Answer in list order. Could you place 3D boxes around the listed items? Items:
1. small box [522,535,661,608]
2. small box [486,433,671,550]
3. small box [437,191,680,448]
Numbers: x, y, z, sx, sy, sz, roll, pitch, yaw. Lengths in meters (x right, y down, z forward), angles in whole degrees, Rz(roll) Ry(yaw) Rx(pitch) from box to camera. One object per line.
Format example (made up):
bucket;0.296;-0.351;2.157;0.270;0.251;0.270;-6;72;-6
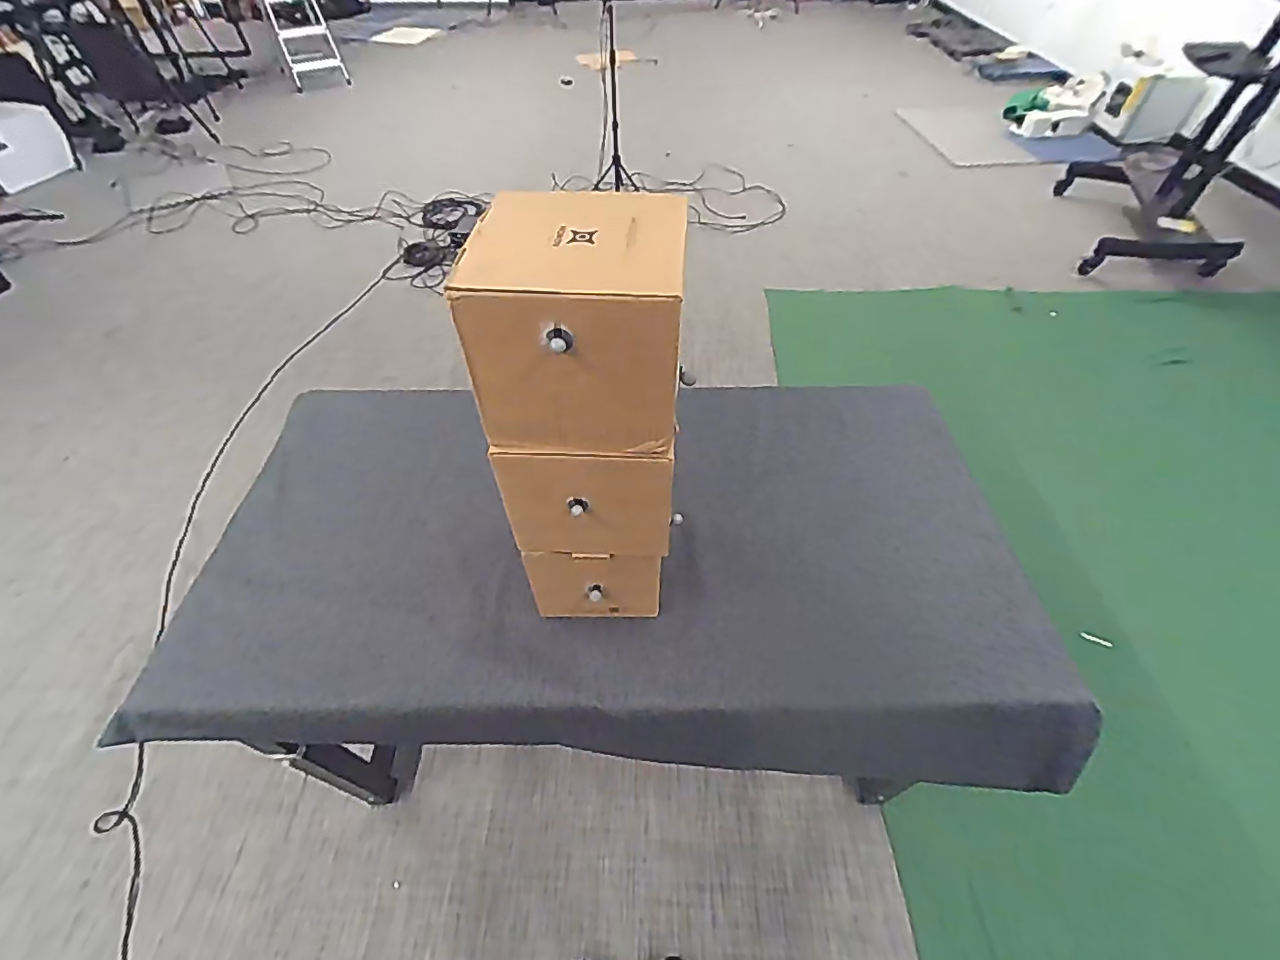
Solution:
small box;-0.055;0.067;0.747;0.168;0.176;0.179;-1;50;1
small box;-0.053;-0.033;0.616;0.179;0.176;0.168;0;50;4
small box;-0.054;-0.143;0.497;0.179;0.176;0.168;2;51;3
